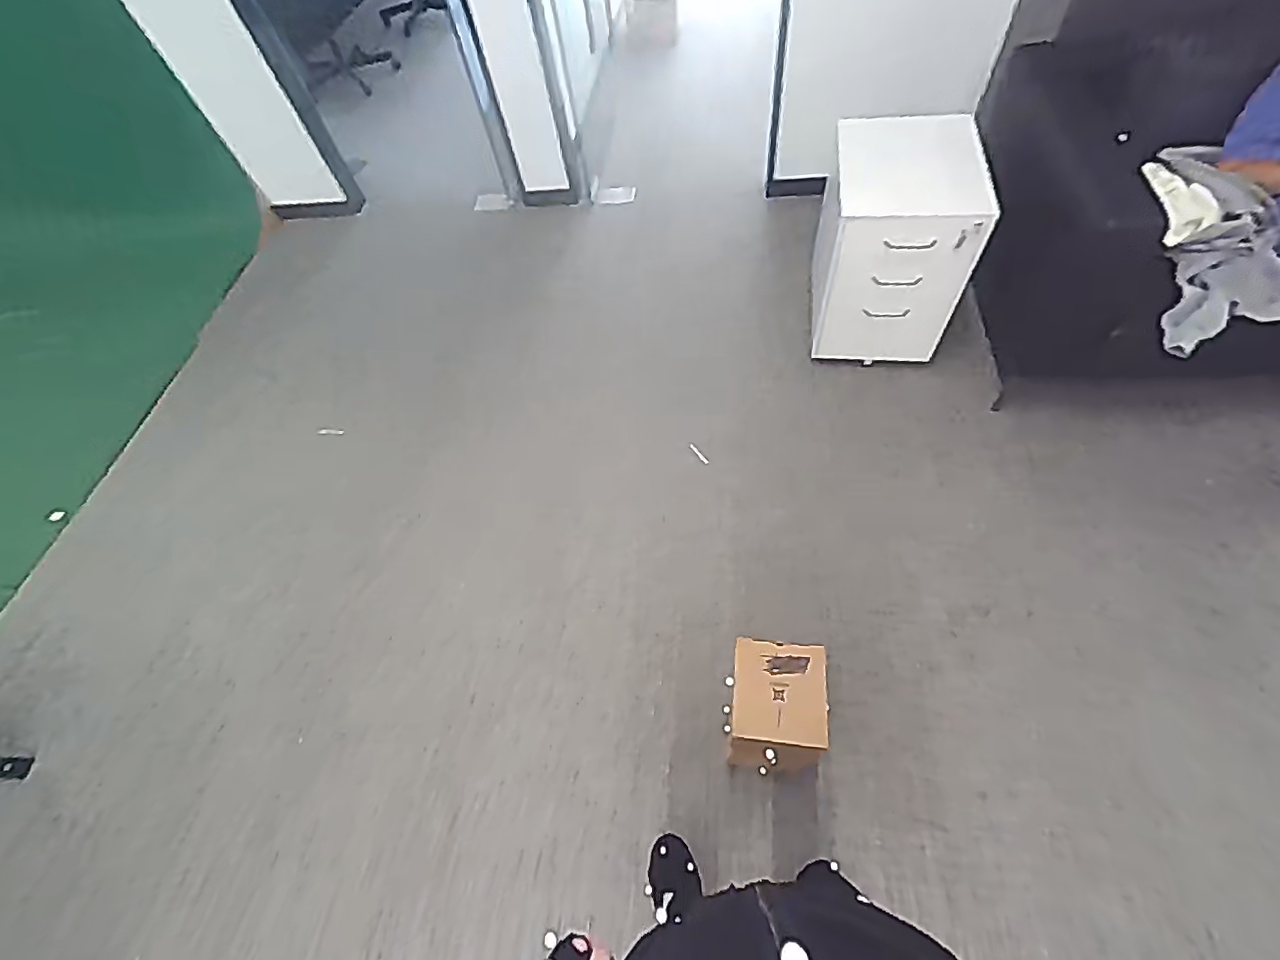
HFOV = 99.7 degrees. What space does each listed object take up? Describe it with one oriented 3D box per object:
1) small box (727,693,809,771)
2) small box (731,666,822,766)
[{"bbox_3d":[0.308,0.603,1.316,0.179,0.176,0.168,4,58,9],"label":"small box"},{"bbox_3d":[0.291,0.518,1.178,0.179,0.176,0.168,3,58,8],"label":"small box"}]
